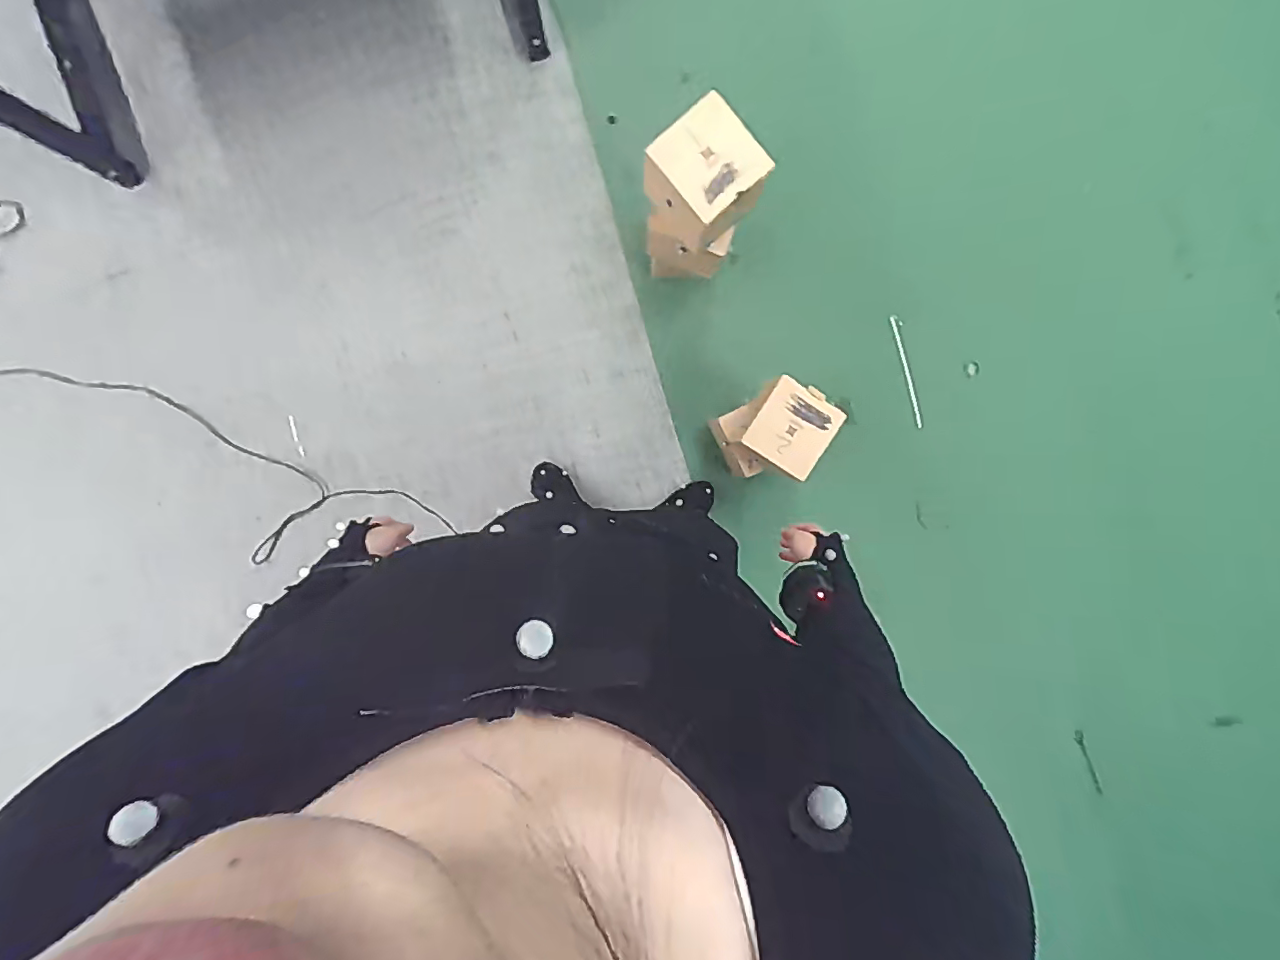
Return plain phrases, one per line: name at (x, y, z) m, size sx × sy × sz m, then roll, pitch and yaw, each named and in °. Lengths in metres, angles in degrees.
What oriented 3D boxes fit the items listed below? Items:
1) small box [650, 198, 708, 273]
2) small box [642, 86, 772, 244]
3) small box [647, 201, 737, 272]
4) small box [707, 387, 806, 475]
small box at (0.113, -0.630, 1.361) m, size 0.179 × 0.176 × 0.168 m, roll 0°, pitch 95°, yaw -2°
small box at (0.121, -0.584, 1.037) m, size 0.168 × 0.176 × 0.179 m, roll -40°, pitch 93°, yaw 3°
small box at (0.120, -0.587, 1.202) m, size 0.179 × 0.176 × 0.168 m, roll 20°, pitch 95°, yaw -3°
small box at (0.293, -0.126, 1.399) m, size 0.179 × 0.176 × 0.168 m, roll -26°, pitch 94°, yaw 0°
